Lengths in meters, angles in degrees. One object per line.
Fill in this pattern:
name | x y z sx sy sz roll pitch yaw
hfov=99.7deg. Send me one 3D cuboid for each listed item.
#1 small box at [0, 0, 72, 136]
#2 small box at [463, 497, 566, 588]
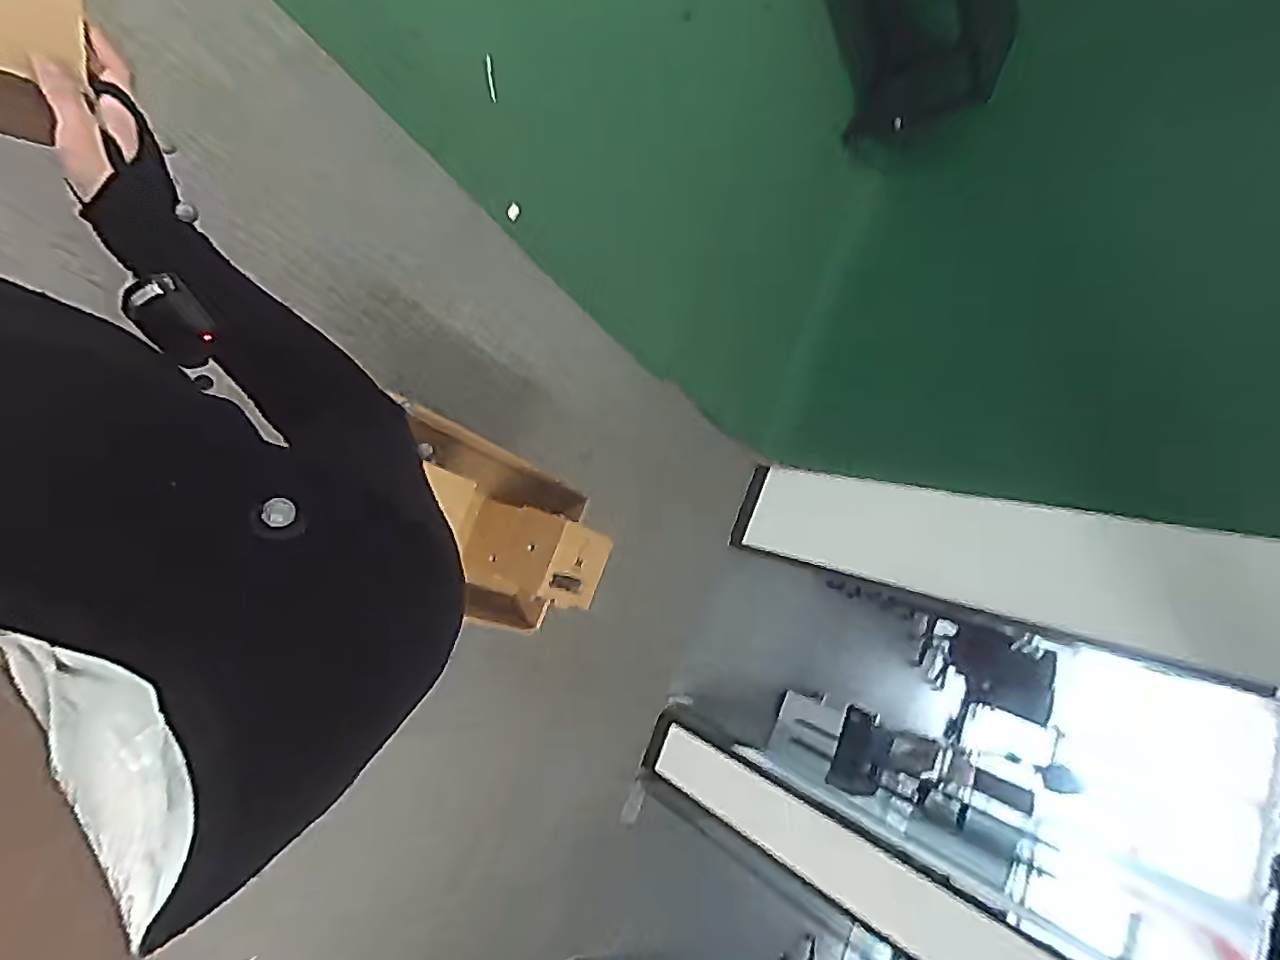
small box | -0.555 -0.398 0.402 0.168 0.176 0.179 -7 104 -49
small box | -0.324 0.155 1.384 0.168 0.176 0.179 27 80 -47
